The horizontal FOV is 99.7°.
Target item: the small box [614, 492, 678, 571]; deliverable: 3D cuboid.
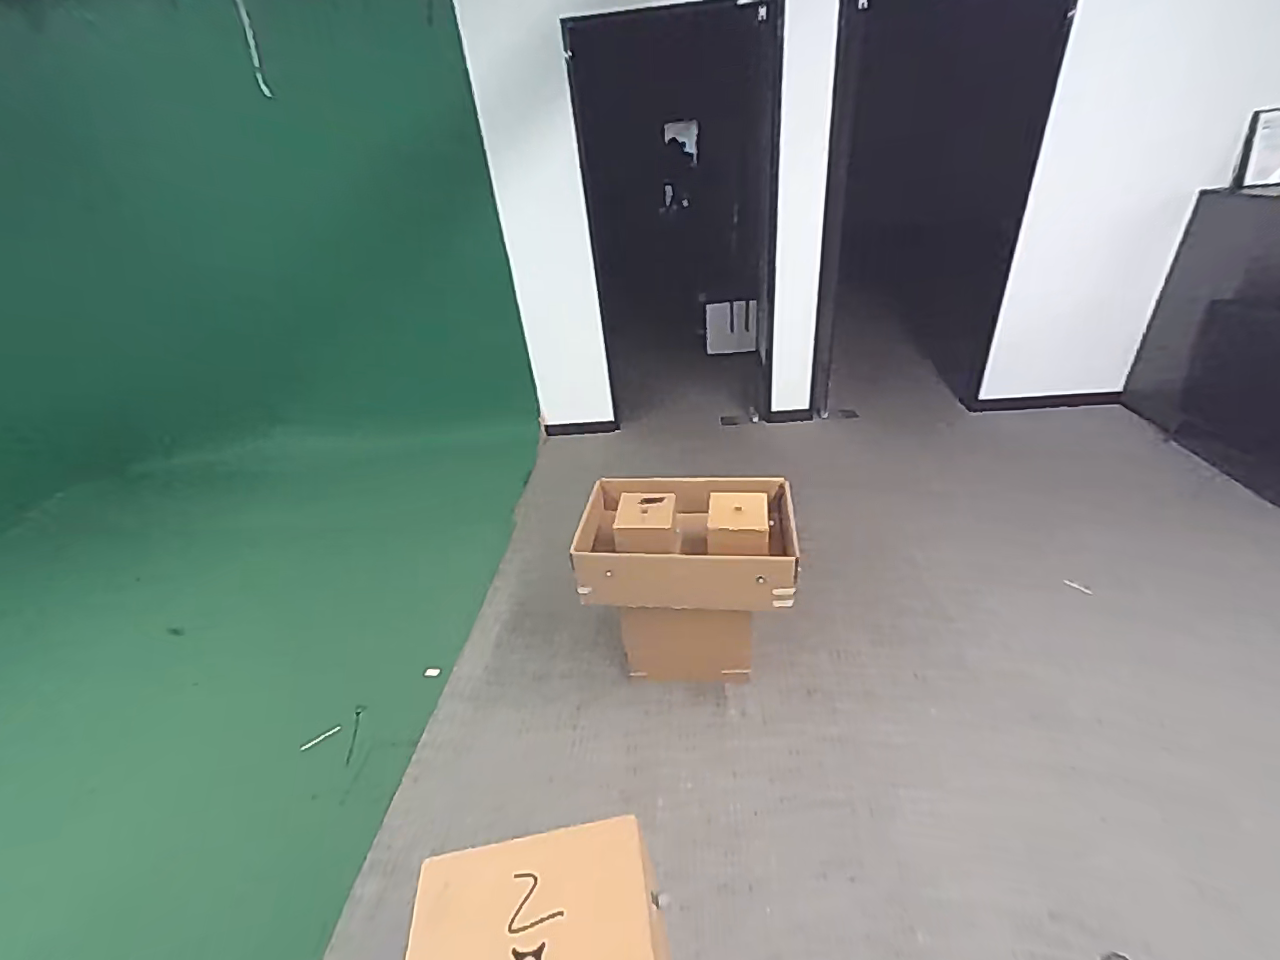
[{"bbox_3d":[0.023,0.151,1.615,0.168,0.176,0.179,-1,34,9],"label":"small box"}]
